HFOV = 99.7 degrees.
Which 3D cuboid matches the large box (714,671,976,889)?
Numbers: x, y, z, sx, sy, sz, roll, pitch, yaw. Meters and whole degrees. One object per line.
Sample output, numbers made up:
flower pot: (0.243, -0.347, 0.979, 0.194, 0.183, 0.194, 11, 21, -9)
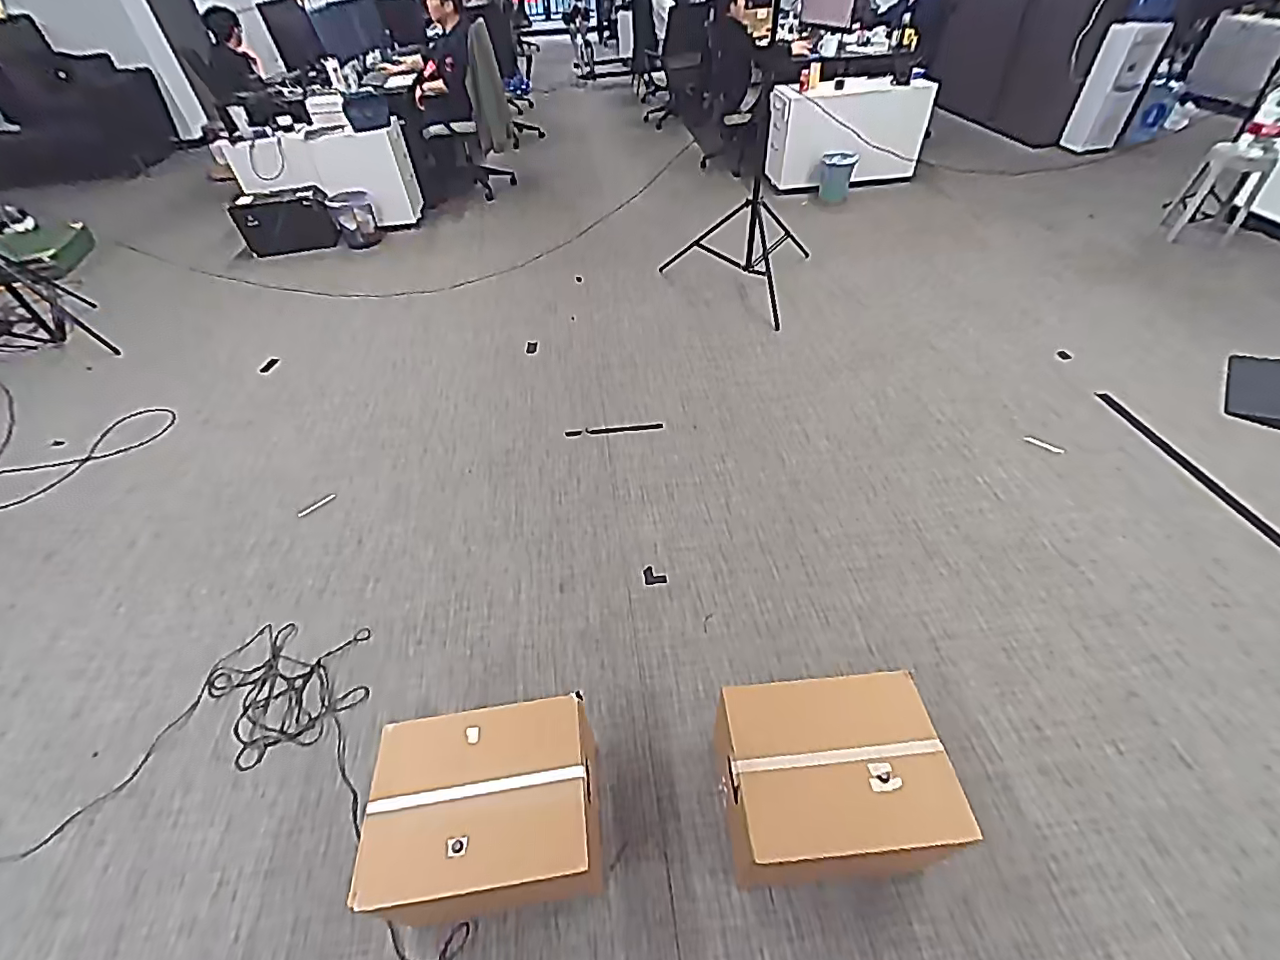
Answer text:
large box: (0.391, 0.640, 1.155, 0.408, 0.320, 0.320, -4, 46, -2)
